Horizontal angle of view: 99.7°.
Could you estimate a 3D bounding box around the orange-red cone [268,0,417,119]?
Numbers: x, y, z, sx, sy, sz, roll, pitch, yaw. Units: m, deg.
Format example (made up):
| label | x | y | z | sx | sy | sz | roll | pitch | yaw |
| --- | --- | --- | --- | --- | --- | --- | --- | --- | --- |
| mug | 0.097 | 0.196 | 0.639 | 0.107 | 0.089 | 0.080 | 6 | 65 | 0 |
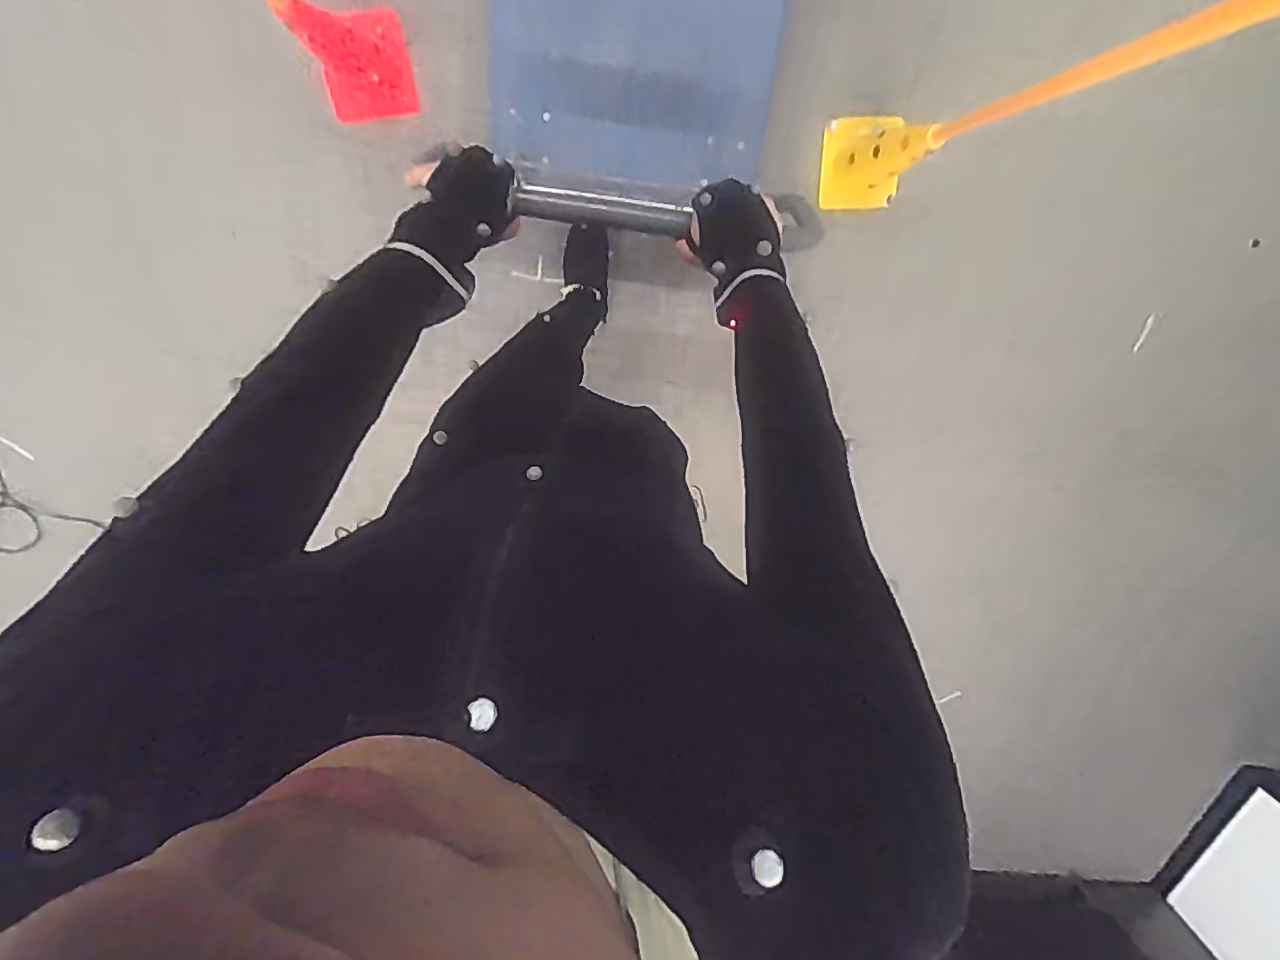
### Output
| label | x | y | z | sx | sy | sz | roll | pitch | yaw |
| --- | --- | --- | --- | --- | --- | --- | --- | --- | --- |
| orange-red cone | -0.610 | -0.869 | 1.060 | 0.199 | 0.360 | 0.198 | -5 | 113 | 1 |
